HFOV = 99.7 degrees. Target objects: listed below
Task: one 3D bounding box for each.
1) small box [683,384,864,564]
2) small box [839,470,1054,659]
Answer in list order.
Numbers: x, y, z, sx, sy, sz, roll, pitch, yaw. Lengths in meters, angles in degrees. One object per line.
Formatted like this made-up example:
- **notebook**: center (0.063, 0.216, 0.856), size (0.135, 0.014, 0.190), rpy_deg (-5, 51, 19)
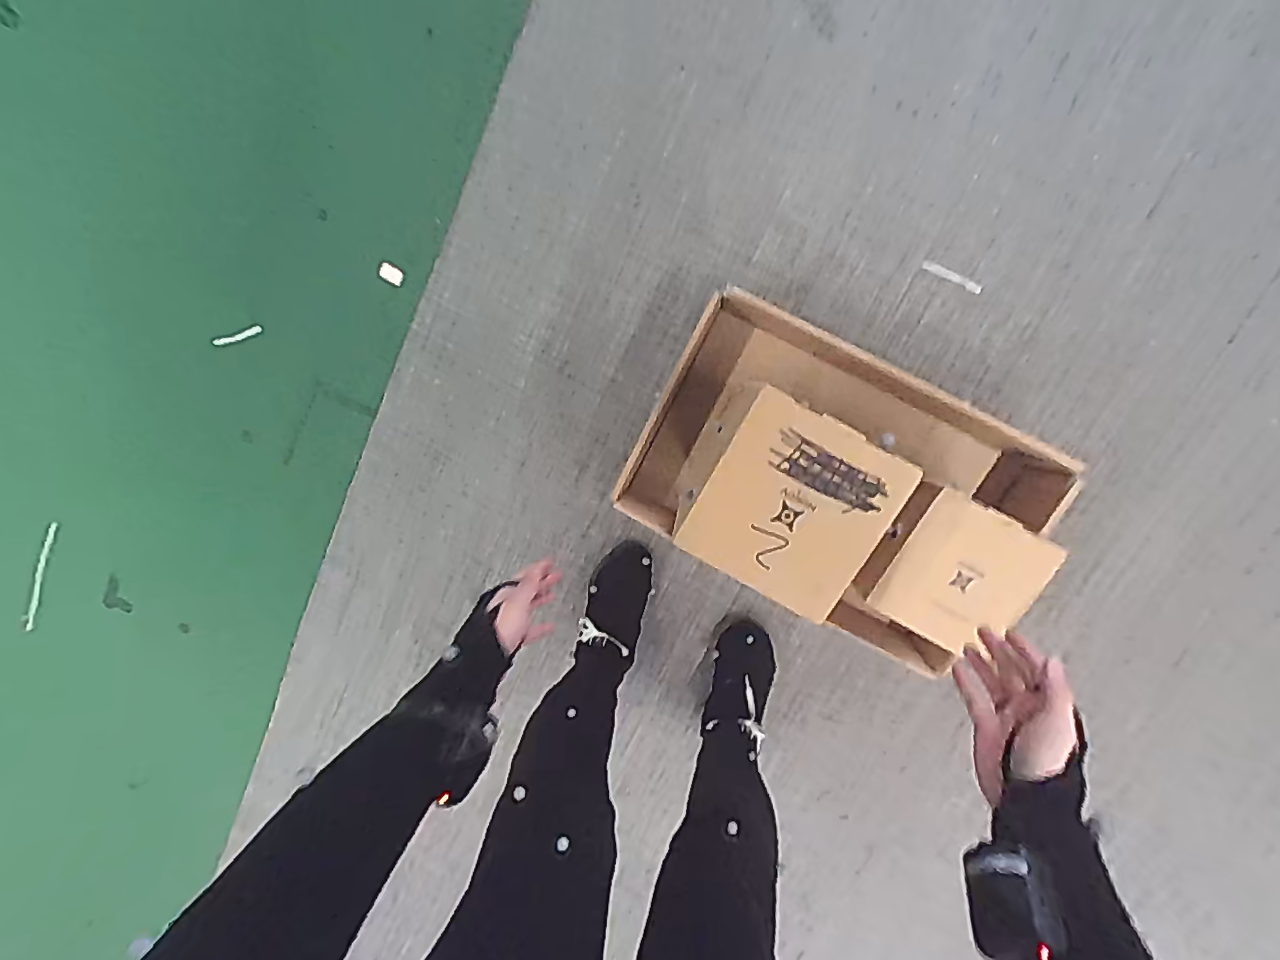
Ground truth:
- **small box**: center (0.172, -0.018, 0.756), size (0.168, 0.176, 0.179), rpy_deg (32, 101, 1)
- **small box**: center (0.403, 0.103, 0.752), size (0.168, 0.176, 0.179), rpy_deg (30, 102, 3)
